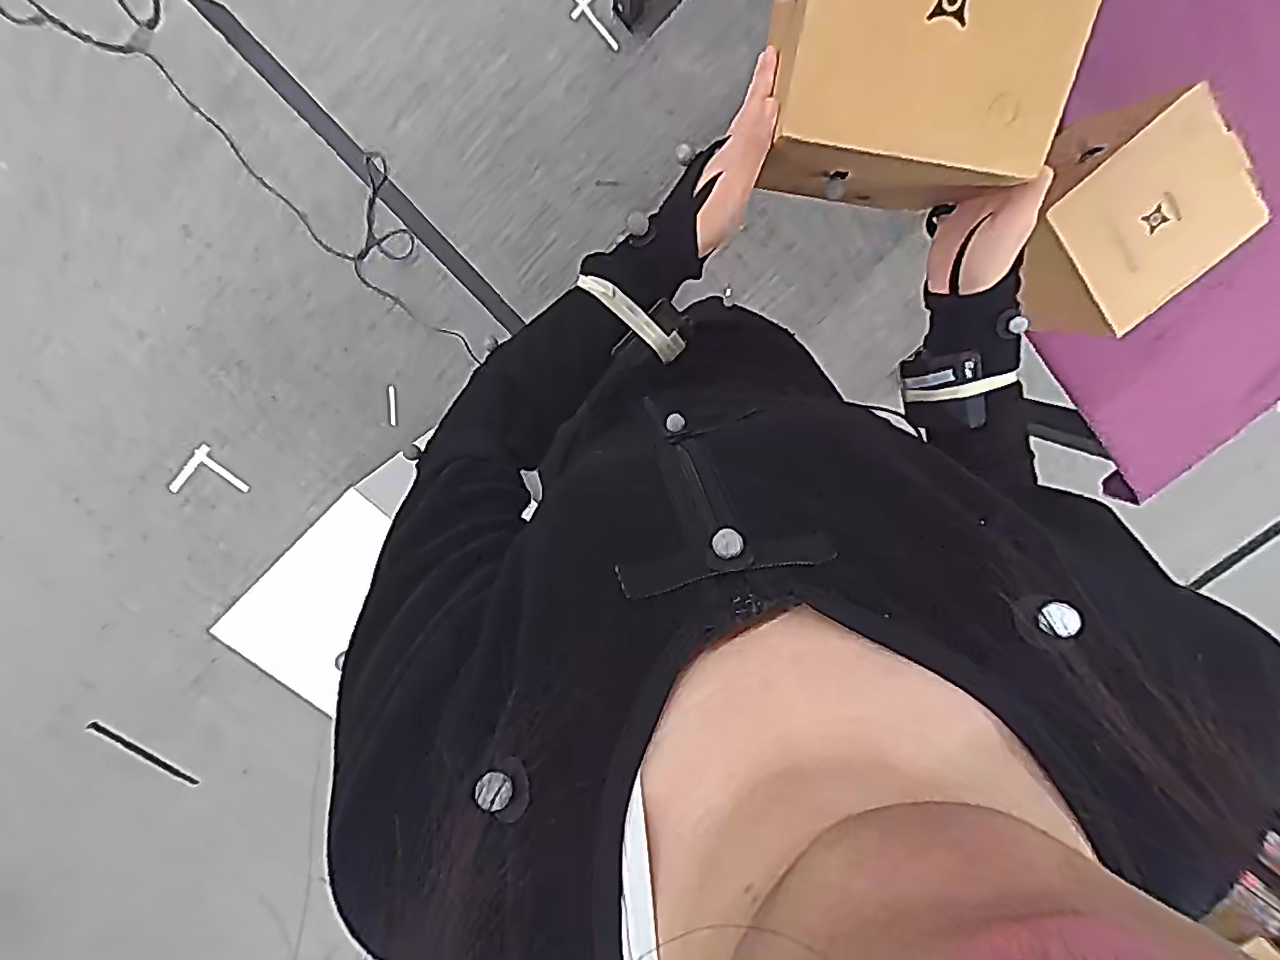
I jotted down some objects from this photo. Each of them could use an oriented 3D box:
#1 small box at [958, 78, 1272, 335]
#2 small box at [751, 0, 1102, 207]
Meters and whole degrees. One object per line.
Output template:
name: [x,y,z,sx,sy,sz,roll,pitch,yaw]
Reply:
small box: [0.514,-0.290,0.612,0.179,0.176,0.168,-42,105,11]
small box: [0.181,-0.306,0.379,0.168,0.176,0.179,9,109,-1]
